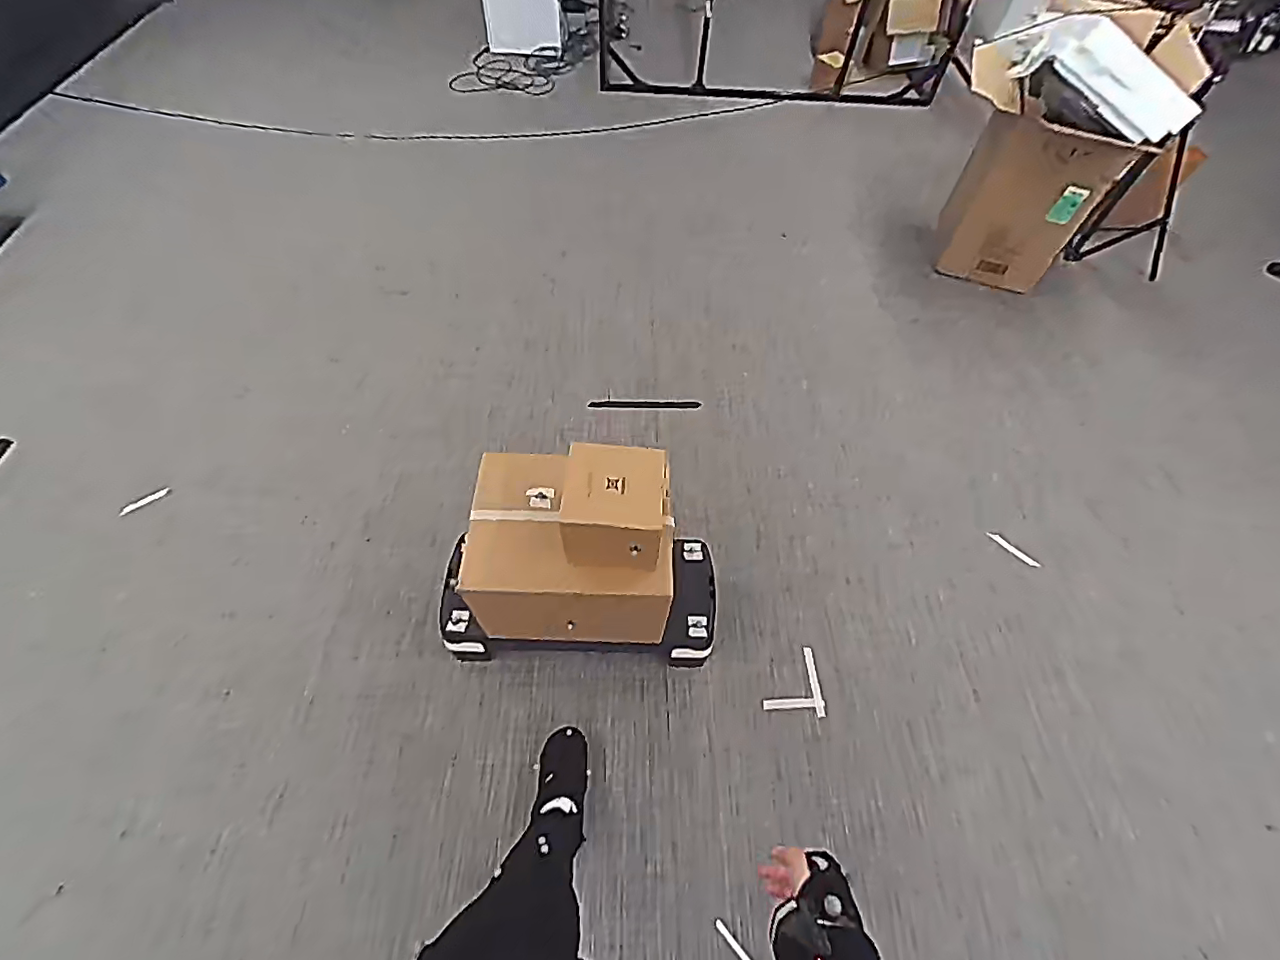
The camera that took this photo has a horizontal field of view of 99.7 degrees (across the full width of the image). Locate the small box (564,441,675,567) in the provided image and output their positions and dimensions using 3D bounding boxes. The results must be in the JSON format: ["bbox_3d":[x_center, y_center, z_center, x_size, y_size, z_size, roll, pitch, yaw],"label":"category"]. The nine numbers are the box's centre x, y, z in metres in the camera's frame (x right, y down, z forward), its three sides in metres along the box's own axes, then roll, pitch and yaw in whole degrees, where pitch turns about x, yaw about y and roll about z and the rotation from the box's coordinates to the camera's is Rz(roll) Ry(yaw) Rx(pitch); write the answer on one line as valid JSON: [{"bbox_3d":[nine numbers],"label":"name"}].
[{"bbox_3d":[-0.034,0.049,0.986,0.179,0.176,0.168,5,57,1],"label":"small box"}]

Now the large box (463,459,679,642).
[{"bbox_3d":[-0.129,0.166,1.198,0.408,0.320,0.320,1,56,-1],"label":"large box"}]

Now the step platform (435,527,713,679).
[{"bbox_3d":[-0.156,0.310,1.388,0.684,0.204,0.286,6,57,2],"label":"step platform"}]
